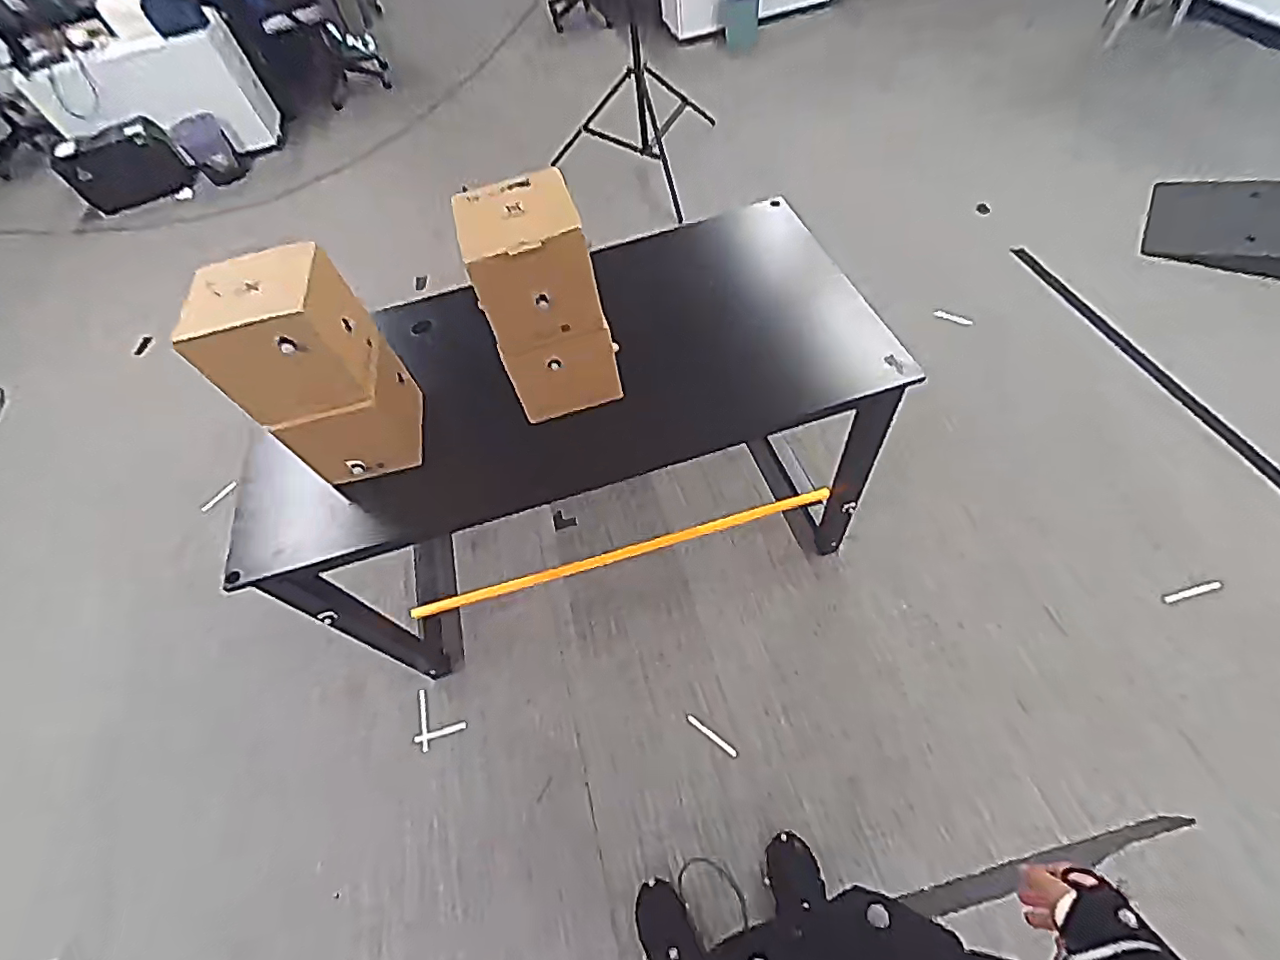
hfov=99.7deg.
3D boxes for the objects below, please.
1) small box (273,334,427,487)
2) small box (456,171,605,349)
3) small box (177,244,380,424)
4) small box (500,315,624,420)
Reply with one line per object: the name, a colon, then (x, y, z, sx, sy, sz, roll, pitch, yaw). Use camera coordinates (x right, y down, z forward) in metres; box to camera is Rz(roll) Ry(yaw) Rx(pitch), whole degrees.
small box: (-0.482, -0.116, 0.930, 0.168, 0.176, 0.179, -15, 58, 0)
small box: (-0.159, -0.321, 0.816, 0.168, 0.176, 0.179, -18, 57, -3)
small box: (-0.509, -0.208, 0.795, 0.179, 0.176, 0.168, -15, 56, 0)
small box: (-0.139, -0.230, 0.951, 0.179, 0.176, 0.168, -16, 57, -3)
